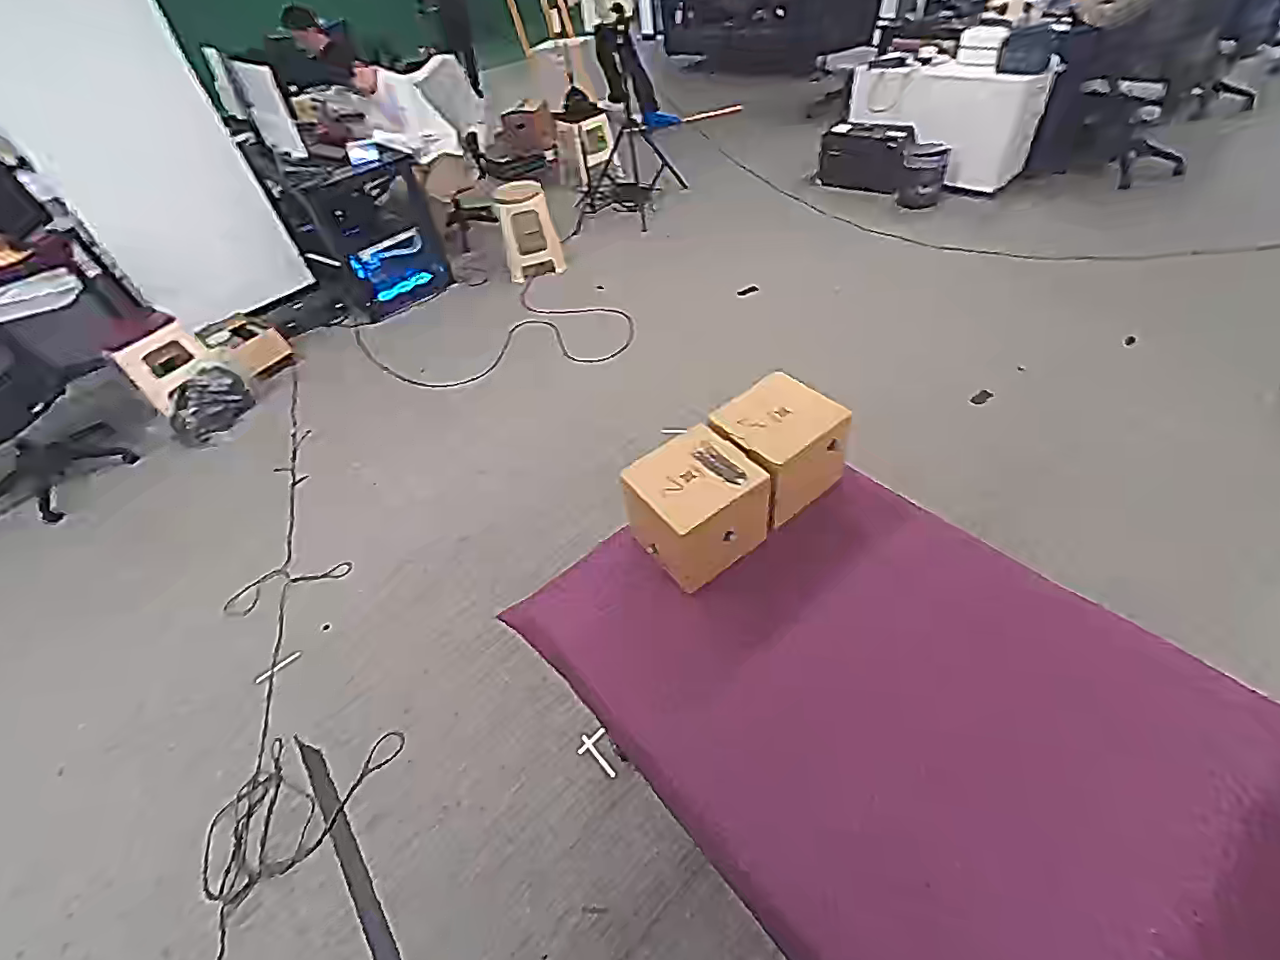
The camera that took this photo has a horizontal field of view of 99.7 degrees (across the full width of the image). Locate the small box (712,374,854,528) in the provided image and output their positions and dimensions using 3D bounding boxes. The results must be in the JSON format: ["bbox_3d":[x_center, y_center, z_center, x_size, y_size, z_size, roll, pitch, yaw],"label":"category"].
[{"bbox_3d":[0.245,-0.051,0.960,0.179,0.176,0.168,-33,51,-19],"label":"small box"}]
